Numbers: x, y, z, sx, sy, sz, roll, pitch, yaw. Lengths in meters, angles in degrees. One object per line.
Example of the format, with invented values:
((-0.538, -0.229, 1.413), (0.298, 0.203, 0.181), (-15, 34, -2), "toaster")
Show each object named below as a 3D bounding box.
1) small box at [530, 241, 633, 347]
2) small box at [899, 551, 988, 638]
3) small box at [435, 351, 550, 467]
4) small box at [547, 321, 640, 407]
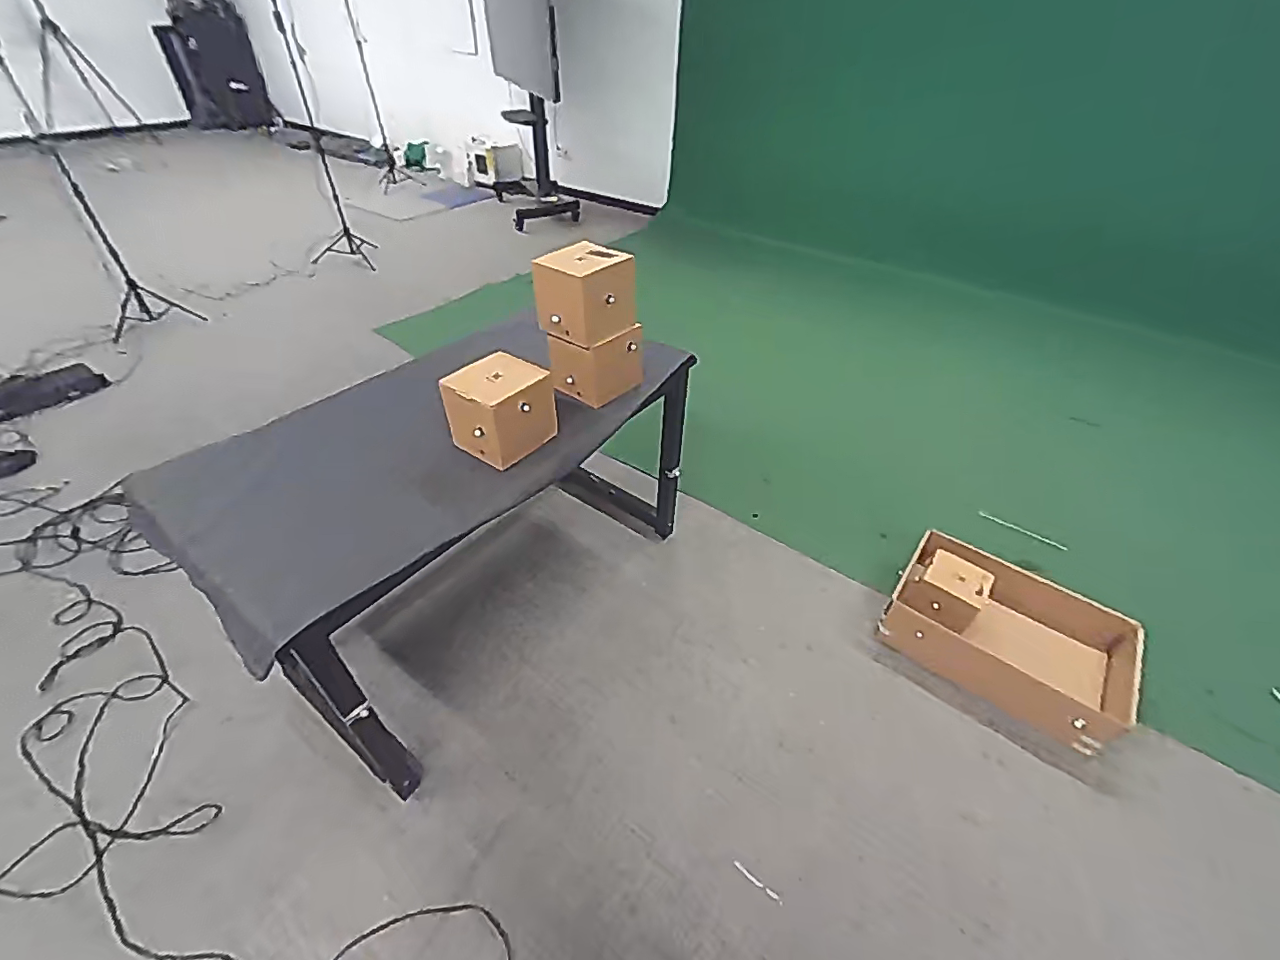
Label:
((-0.133, -0.437, 1.267), (0.168, 0.176, 0.179), (29, 49, 29), "small box")
((0.953, 0.363, 1.709), (0.179, 0.176, 0.168), (30, 48, 27), "small box")
((-0.313, -0.154, 1.187), (0.168, 0.176, 0.179), (27, 46, 25), "small box")
((-0.118, -0.314, 1.376), (0.168, 0.176, 0.179), (30, 49, 30), "small box")
